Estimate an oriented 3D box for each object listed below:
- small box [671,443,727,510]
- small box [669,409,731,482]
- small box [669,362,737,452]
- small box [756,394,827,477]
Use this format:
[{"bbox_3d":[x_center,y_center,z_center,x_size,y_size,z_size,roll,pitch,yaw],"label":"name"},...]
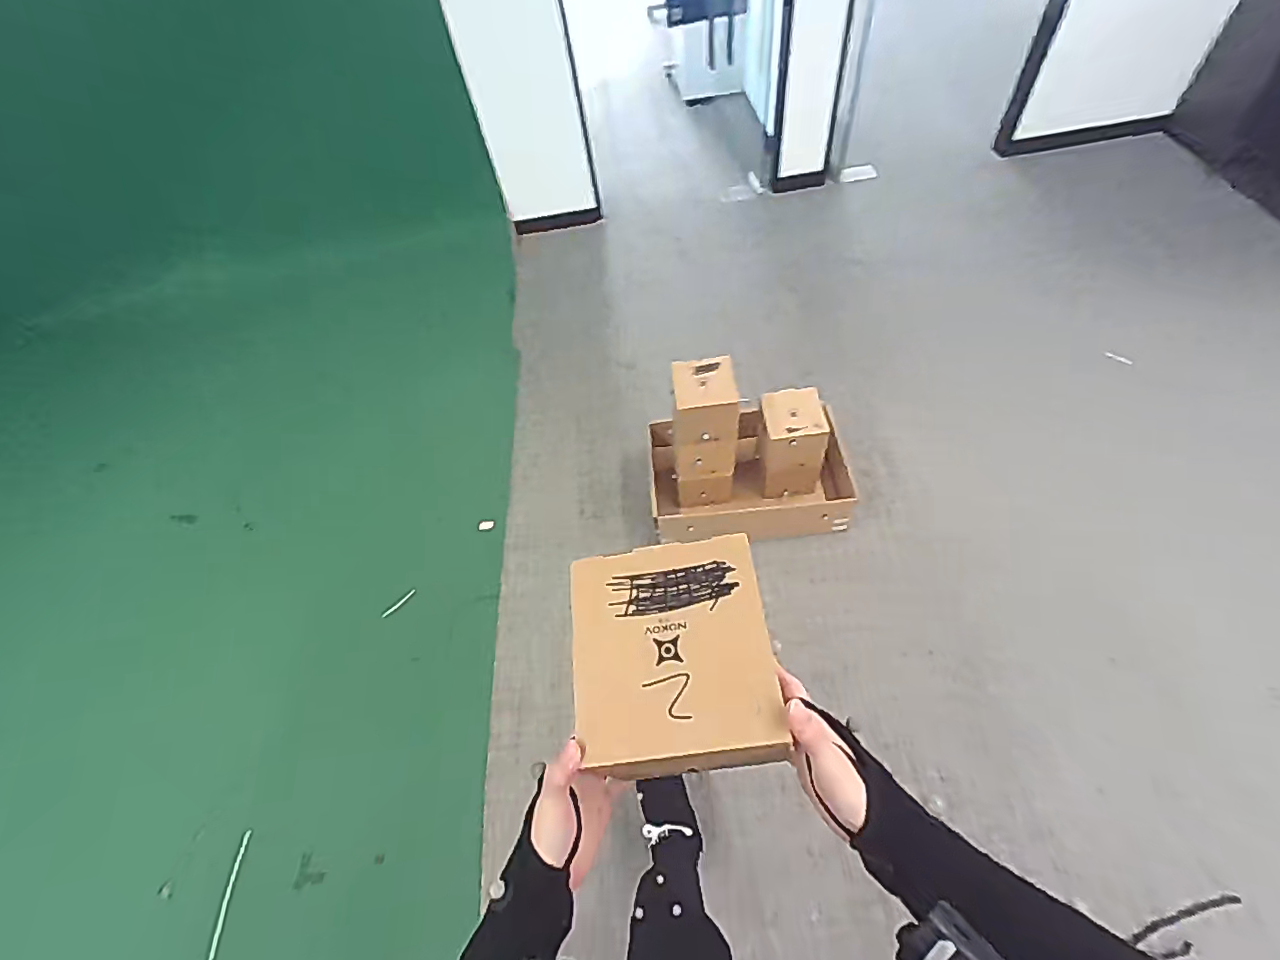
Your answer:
[{"bbox_3d":[0.194,-0.014,1.767,0.168,0.176,0.179,-5,54,3],"label":"small box"},{"bbox_3d":[0.182,-0.106,1.636,0.168,0.176,0.179,-6,54,2],"label":"small box"},{"bbox_3d":[0.171,-0.201,1.502,0.168,0.176,0.179,-6,55,2],"label":"small box"},{"bbox_3d":[0.445,-0.131,1.619,0.168,0.176,0.179,-7,54,5],"label":"small box"}]
